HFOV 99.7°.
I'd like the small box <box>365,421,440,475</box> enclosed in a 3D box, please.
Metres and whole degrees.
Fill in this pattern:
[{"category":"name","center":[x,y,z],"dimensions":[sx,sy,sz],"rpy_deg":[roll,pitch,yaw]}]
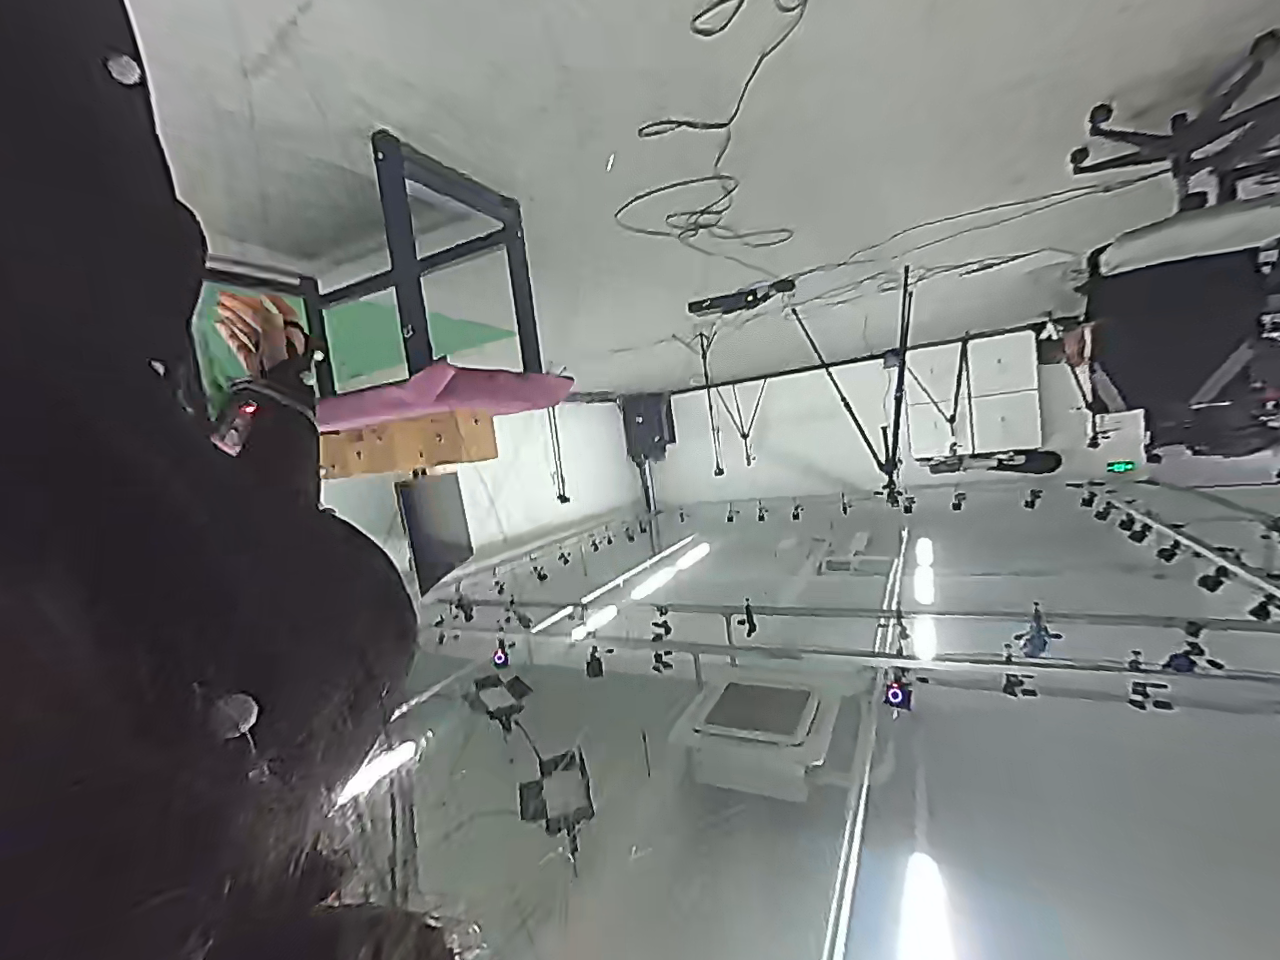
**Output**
[{"category":"small box","center":[-0.835,-0.116,1.903],"dimensions":[0.168,0.176,0.179],"rpy_deg":[-6,-176,30]}]

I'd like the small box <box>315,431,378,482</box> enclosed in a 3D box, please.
[{"category":"small box","center":[-1.072,-0.092,2.006],"dimensions":[0.179,0.176,0.168],"rpy_deg":[-6,-176,22]}]

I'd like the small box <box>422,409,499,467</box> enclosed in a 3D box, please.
[{"category":"small box","center":[-0.594,-0.141,1.787],"dimensions":[0.168,0.176,0.179],"rpy_deg":[-5,-176,25]}]
